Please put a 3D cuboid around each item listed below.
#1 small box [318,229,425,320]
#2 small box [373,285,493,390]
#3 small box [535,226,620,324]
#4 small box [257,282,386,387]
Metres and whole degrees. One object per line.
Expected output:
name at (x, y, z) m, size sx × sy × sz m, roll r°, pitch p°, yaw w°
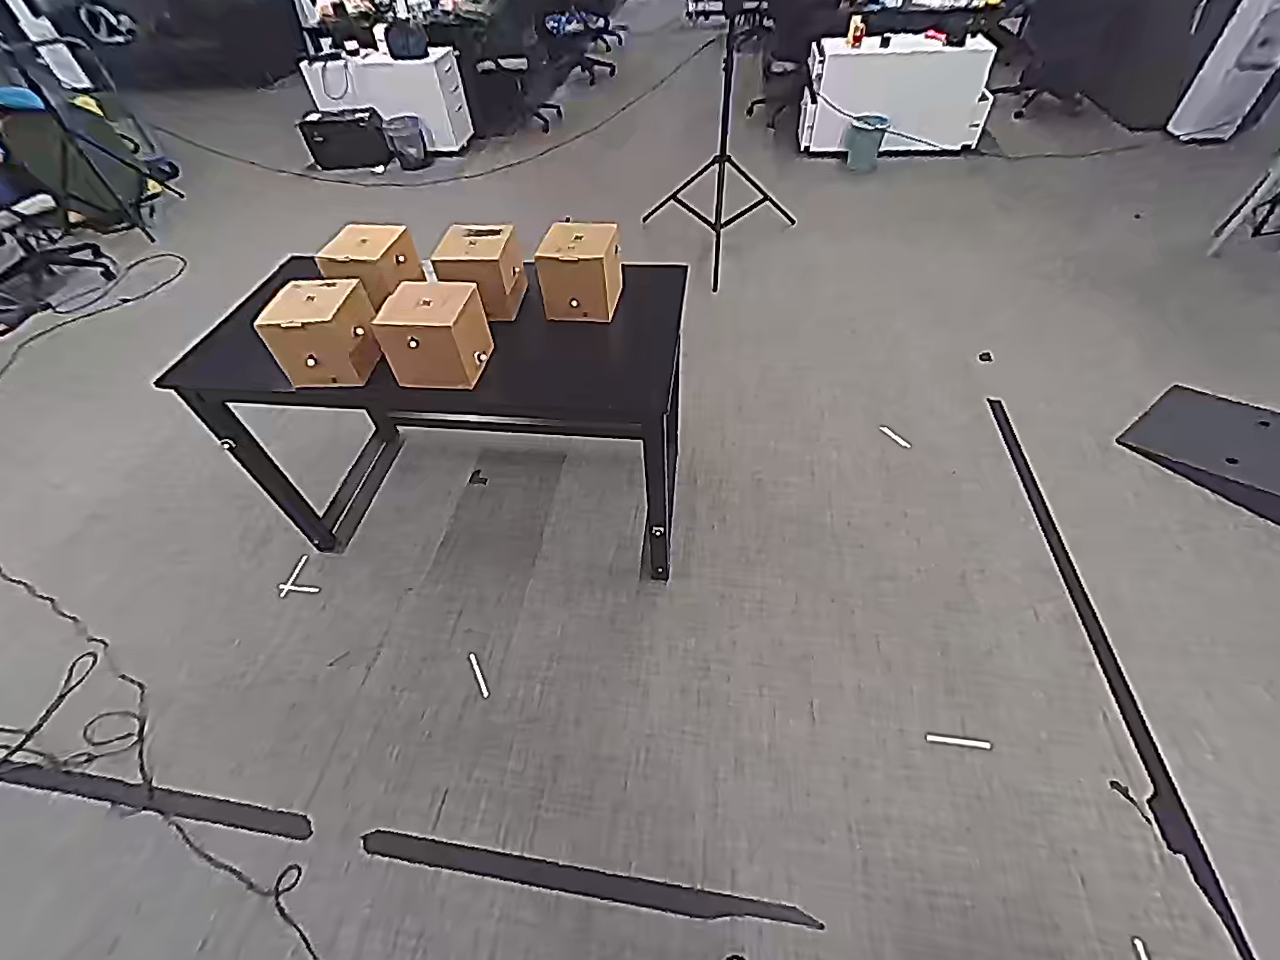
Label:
small box at (-0.681, -0.528, 1.403) m, size 0.168 × 0.176 × 0.179 m, roll 5°, pitch 50°, yaw 8°
small box at (-0.449, -0.315, 1.204) m, size 0.179 × 0.176 × 0.168 m, roll 3°, pitch 50°, yaw 6°
small box at (-0.147, -0.513, 1.353) m, size 0.168 × 0.176 × 0.179 m, roll 5°, pitch 50°, yaw 9°
small box at (-0.705, -0.324, 1.226) m, size 0.168 × 0.176 × 0.179 m, roll -1°, pitch 49°, yaw 3°
